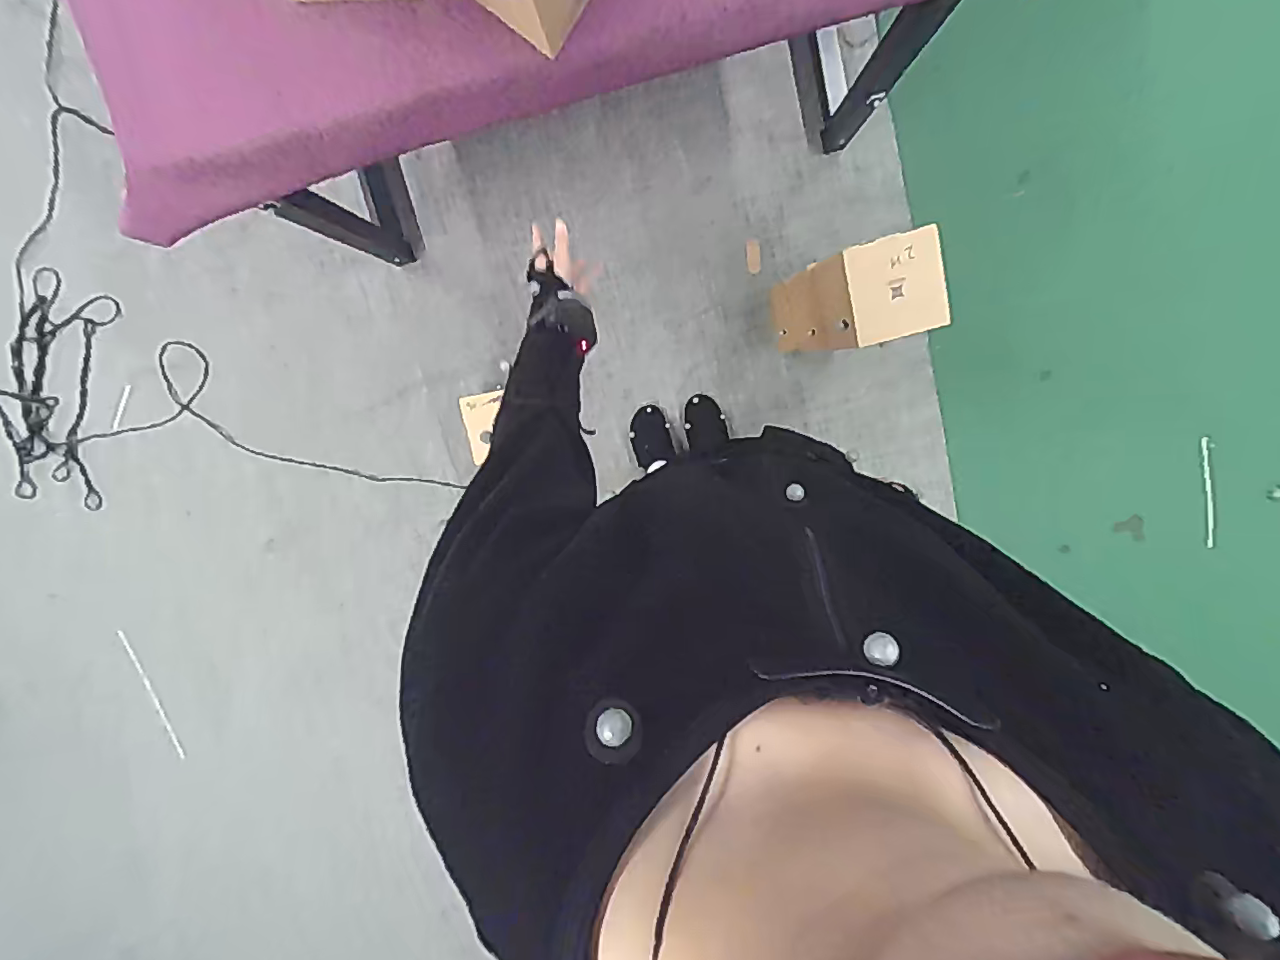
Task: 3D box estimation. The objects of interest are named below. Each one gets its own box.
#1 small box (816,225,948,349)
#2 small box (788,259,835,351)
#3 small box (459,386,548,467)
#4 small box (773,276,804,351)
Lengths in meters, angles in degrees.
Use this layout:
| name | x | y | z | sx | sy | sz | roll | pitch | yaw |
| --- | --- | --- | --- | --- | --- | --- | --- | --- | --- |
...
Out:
| name | x | y | z | sx | sy | sz | roll | pitch | yaw |
| --- | --- | --- | --- | --- | --- | --- | --- | --- | --- |
| small box | 0.448 | -0.352 | 1.022 | 0.168 | 0.176 | 0.179 | -14 | 101 | 4 |
| small box | 0.437 | -0.390 | 1.182 | 0.168 | 0.176 | 0.179 | -15 | 101 | 5 |
| small box | -0.350 | -0.145 | 1.419 | 0.168 | 0.176 | 0.179 | -10 | 101 | 4 |
| small box | 0.436 | -0.422 | 1.341 | 0.179 | 0.176 | 0.168 | -12 | 100 | 4 |
